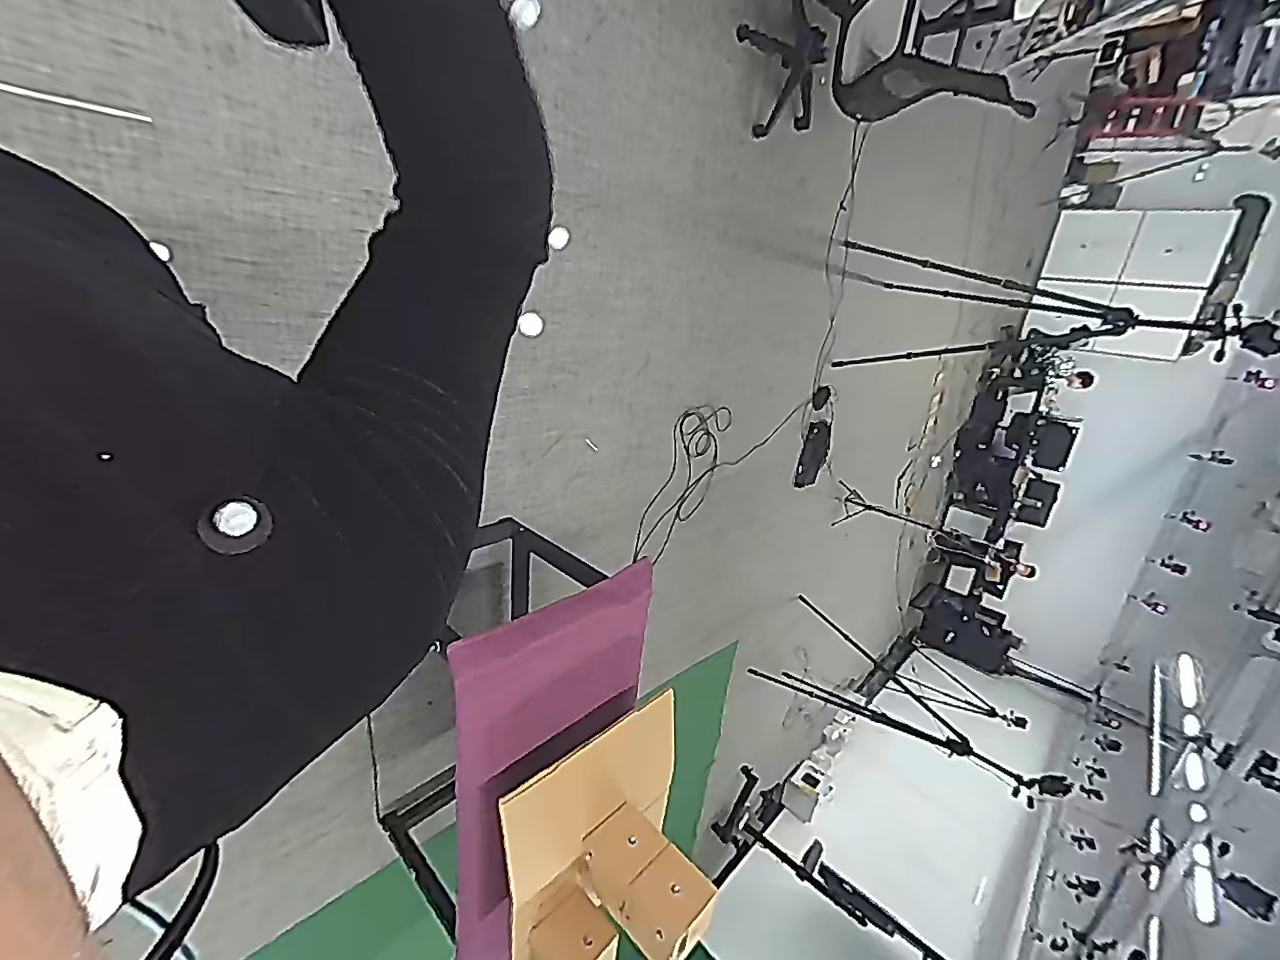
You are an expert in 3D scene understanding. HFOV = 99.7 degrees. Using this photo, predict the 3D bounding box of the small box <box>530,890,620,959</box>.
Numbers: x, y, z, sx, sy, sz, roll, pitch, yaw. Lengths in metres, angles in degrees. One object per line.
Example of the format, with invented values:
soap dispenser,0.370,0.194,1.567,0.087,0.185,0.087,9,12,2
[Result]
small box,-0.178,1.284,1.473,0.179,0.176,0.168,-16,120,-44

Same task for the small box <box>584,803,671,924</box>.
small box,-0.040,1.064,1.515,0.179,0.176,0.168,-18,123,-44
